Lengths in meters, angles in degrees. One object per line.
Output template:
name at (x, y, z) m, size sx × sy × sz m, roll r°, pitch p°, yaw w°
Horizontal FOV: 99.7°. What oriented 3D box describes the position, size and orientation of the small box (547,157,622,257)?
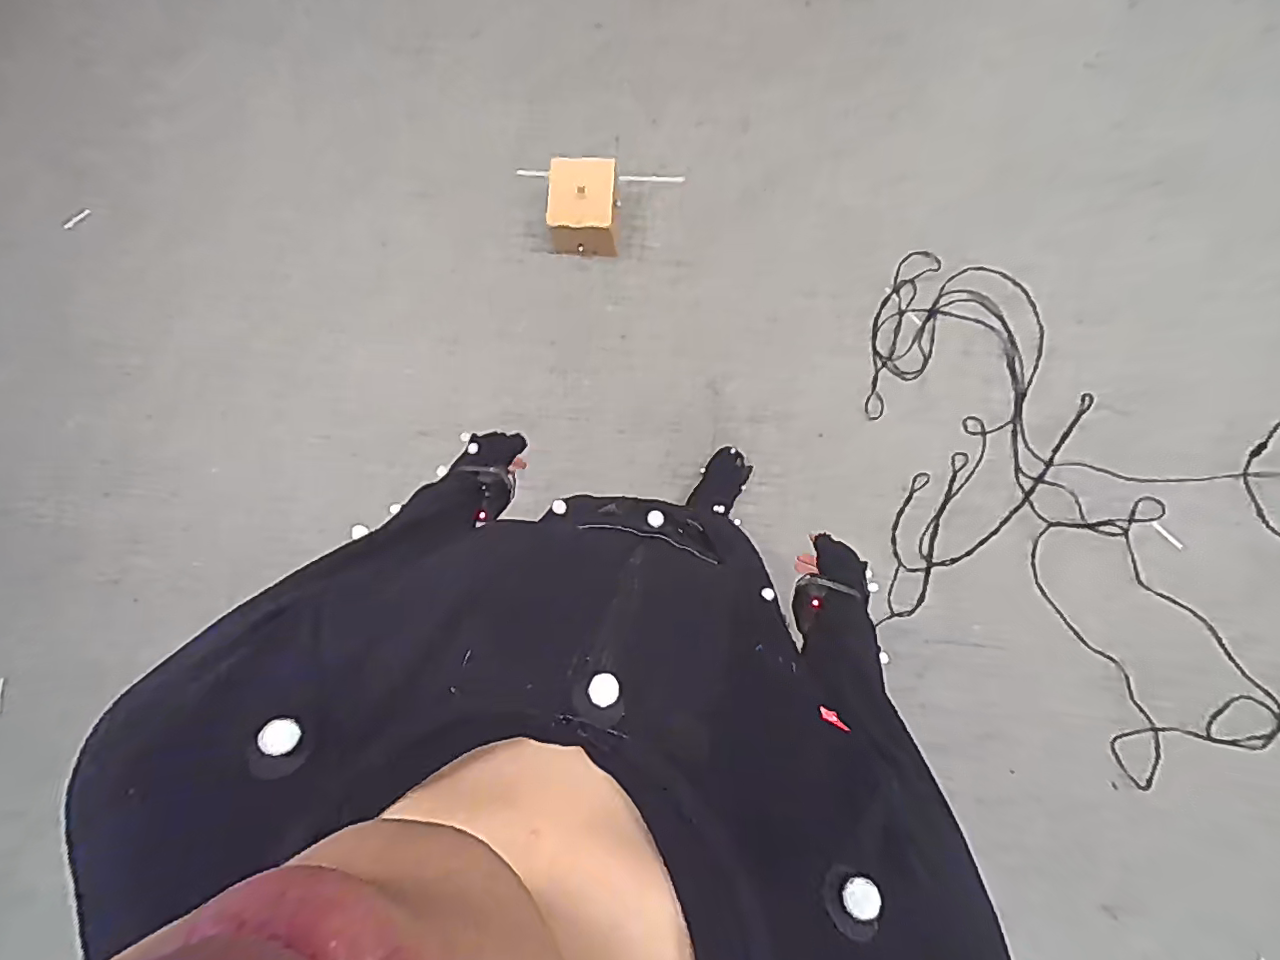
small box at (-0.141, -0.713, 1.424) m, size 0.168 × 0.176 × 0.179 m, roll 4°, pitch 89°, yaw 4°
